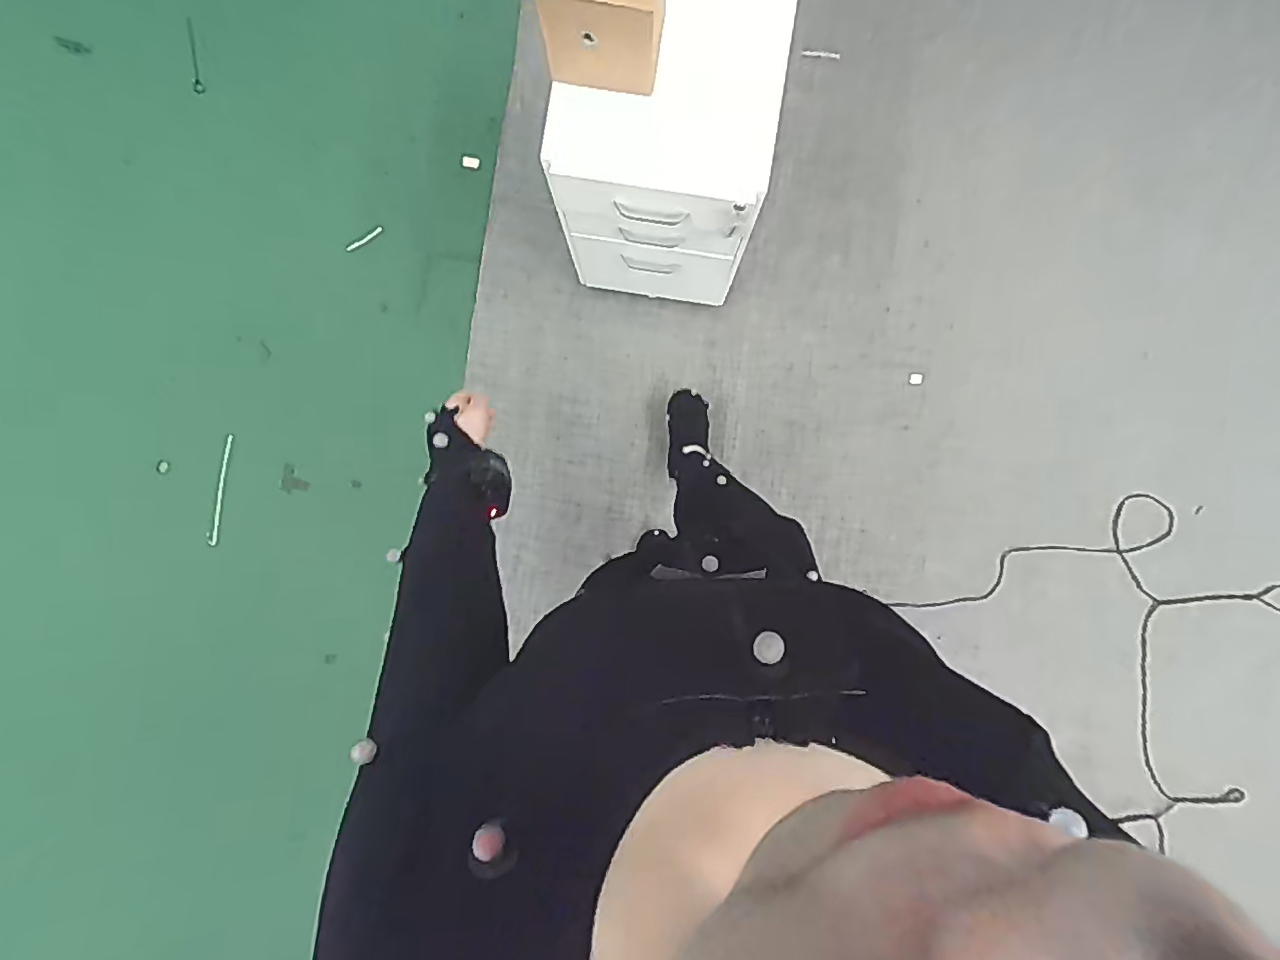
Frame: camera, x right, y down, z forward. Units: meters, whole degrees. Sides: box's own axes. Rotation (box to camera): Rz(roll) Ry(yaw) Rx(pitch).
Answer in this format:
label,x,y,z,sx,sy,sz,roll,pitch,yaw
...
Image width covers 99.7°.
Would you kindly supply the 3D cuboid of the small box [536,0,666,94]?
label,x,y,z,sx,sy,sz,roll,pitch,yaw
small box,-0.055,-0.750,0.849,0.179,0.176,0.168,9,89,1
